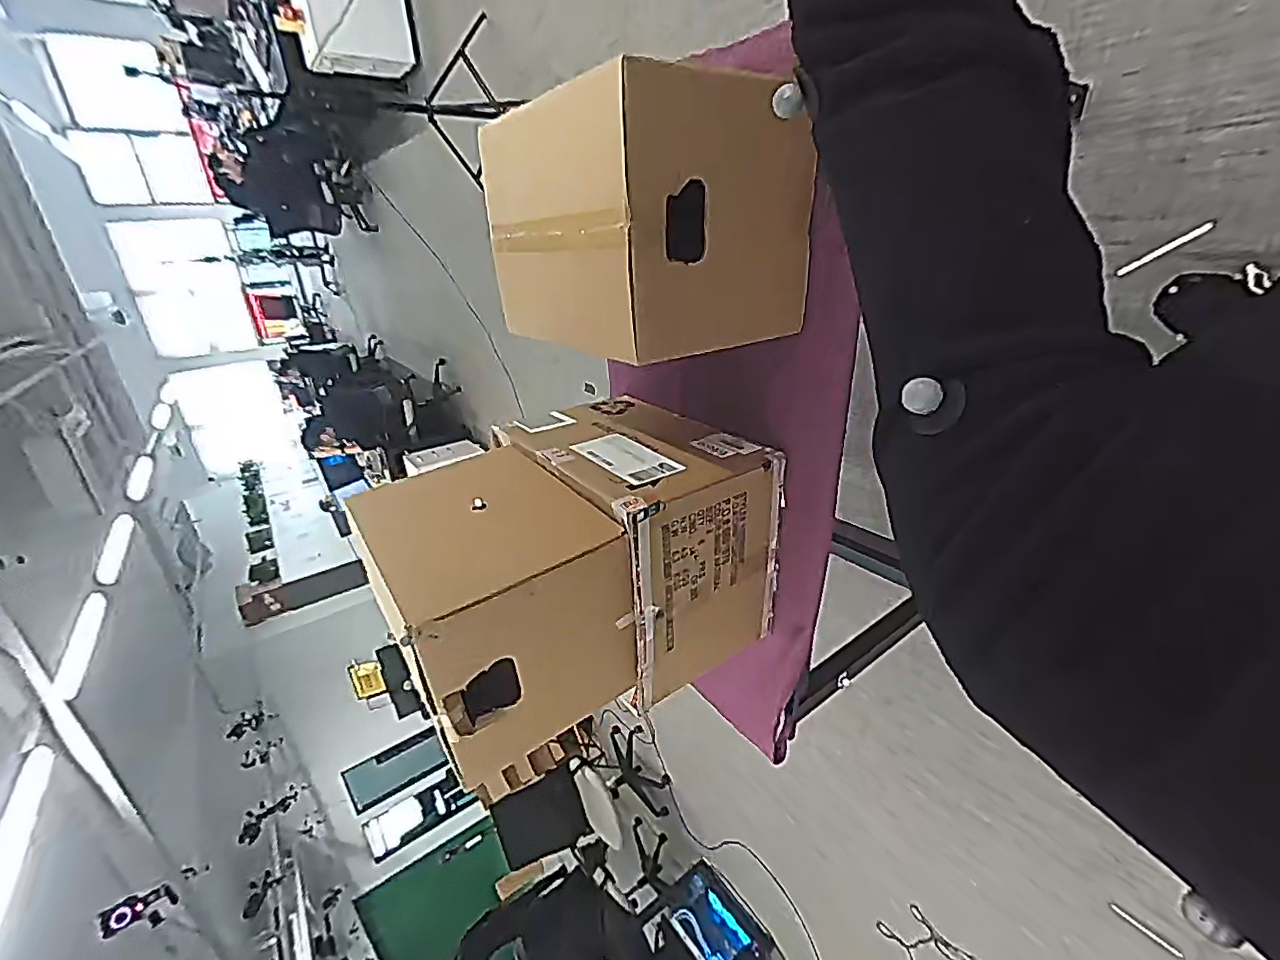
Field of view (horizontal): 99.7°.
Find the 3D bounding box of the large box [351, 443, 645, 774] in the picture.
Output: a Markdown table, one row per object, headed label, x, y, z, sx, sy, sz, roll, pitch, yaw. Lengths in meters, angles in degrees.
| label | x | y | z | sx | sy | sz | roll | pitch | yaw |
| --- | --- | --- | --- | --- | --- | --- | --- | --- | --- |
| large box | -0.239 | 0.167 | 0.906 | 0.408 | 0.320 | 0.320 | 30 | 134 | 47 |
